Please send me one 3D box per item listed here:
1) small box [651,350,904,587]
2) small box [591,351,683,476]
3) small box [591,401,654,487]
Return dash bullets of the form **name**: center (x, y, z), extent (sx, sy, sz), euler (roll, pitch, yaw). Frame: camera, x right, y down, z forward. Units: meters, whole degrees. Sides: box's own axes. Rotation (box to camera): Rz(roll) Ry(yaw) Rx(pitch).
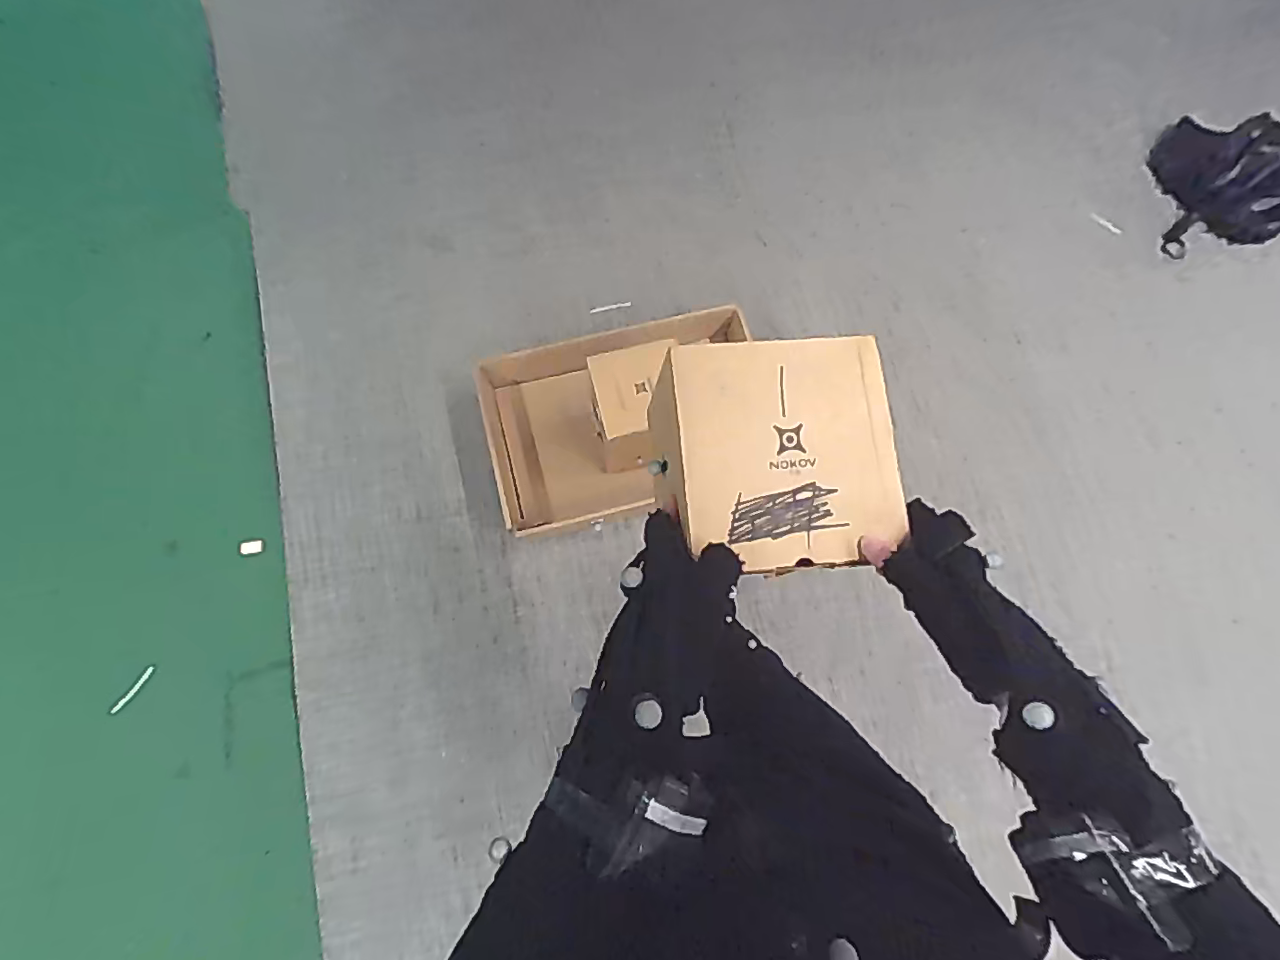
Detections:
- **small box**: center (0.105, 0.000, 0.489), extent (0.168, 0.176, 0.179), euler (-4, 79, -6)
- **small box**: center (0.012, -0.123, 1.053), extent (0.179, 0.176, 0.168), euler (-18, 77, -6)
- **small box**: center (-0.001, -0.096, 1.232), extent (0.179, 0.176, 0.168), euler (-16, 76, -5)
